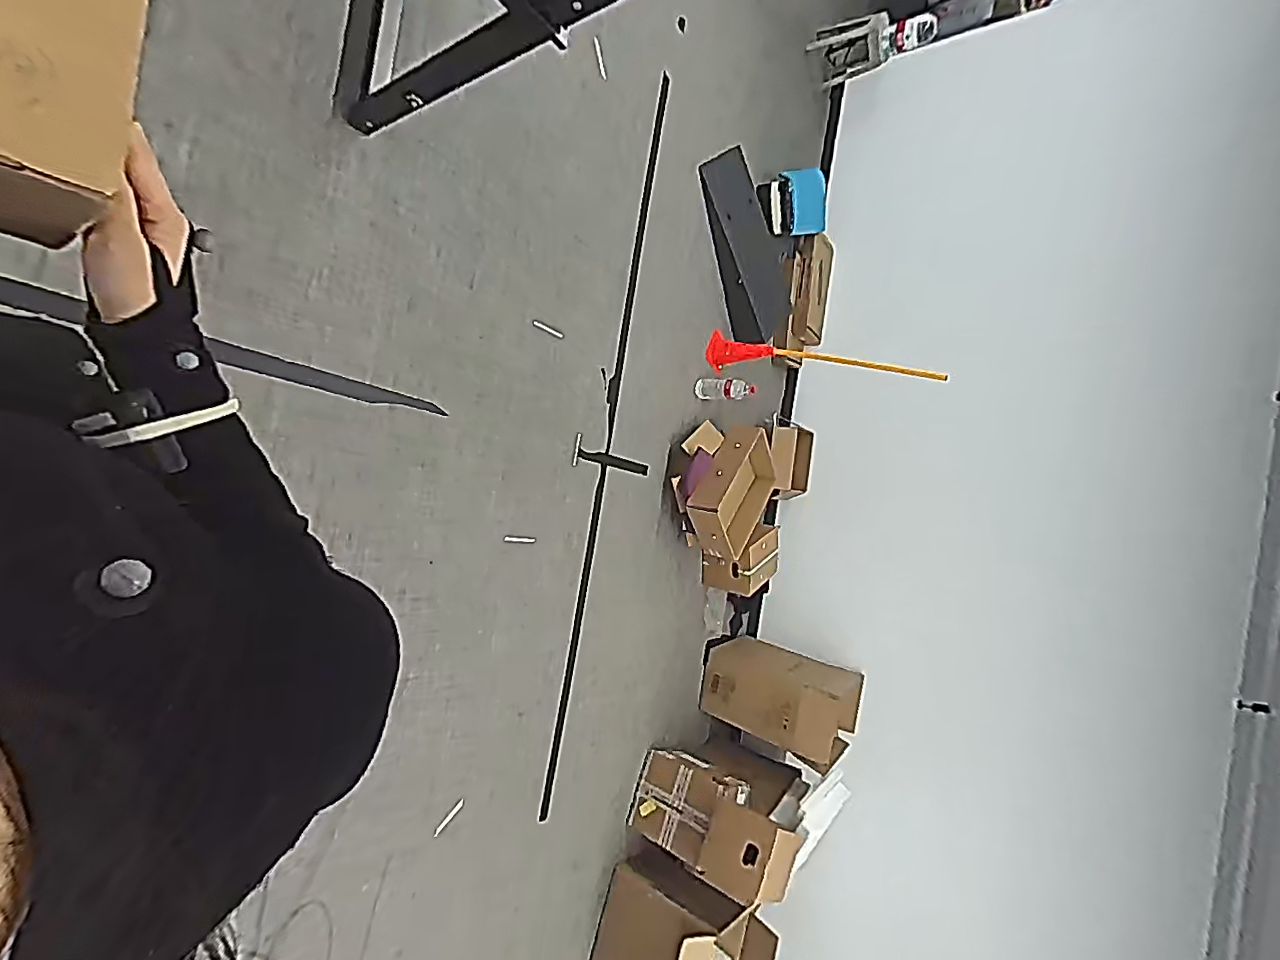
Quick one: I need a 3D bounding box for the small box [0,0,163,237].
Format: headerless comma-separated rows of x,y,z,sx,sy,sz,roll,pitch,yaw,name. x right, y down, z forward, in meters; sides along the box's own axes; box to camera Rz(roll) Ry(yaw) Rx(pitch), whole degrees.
-0.339,-0.229,0.237,0.168,0.176,0.179,7,92,-55,small box
